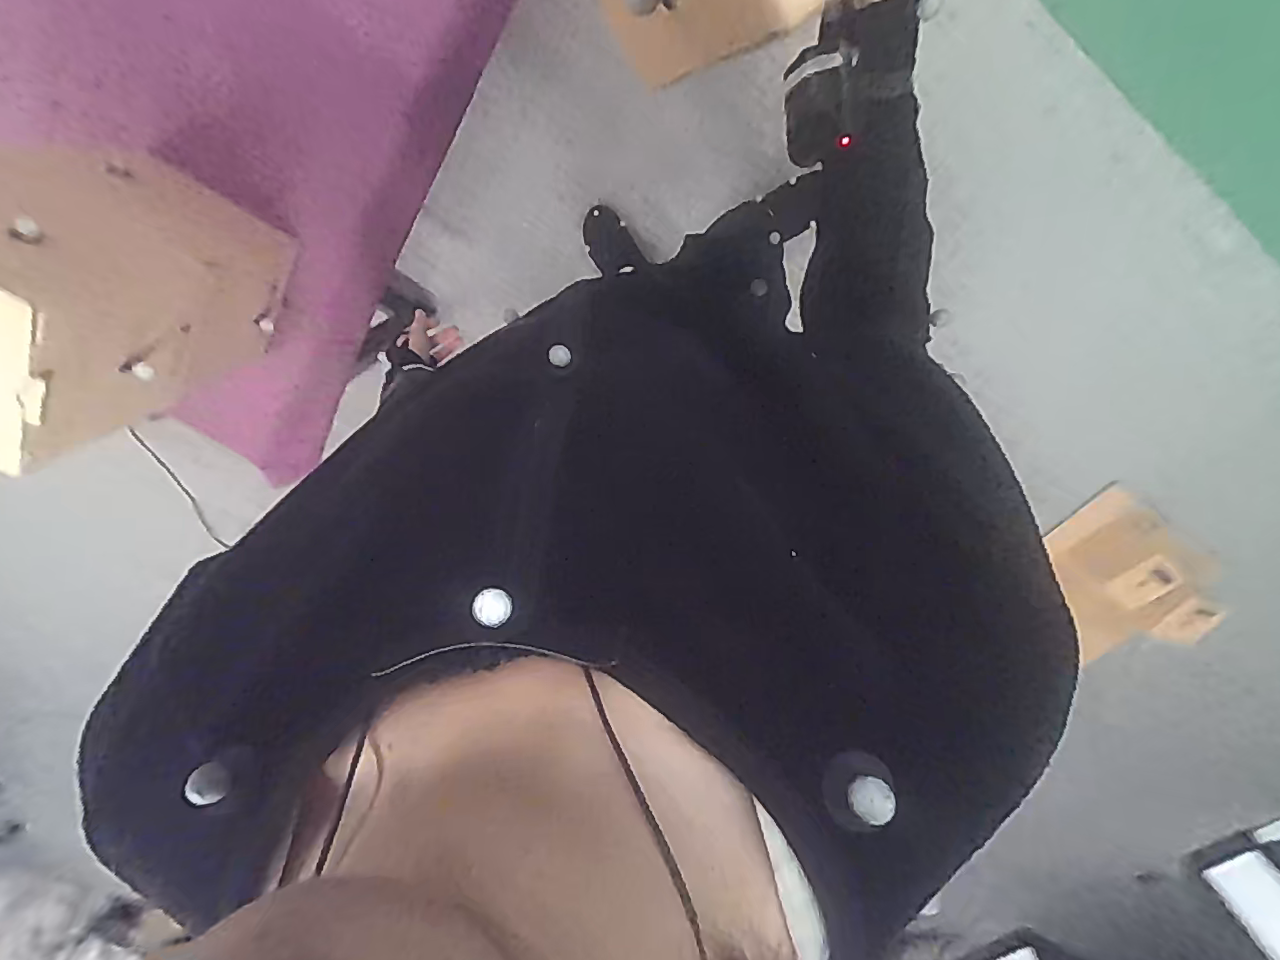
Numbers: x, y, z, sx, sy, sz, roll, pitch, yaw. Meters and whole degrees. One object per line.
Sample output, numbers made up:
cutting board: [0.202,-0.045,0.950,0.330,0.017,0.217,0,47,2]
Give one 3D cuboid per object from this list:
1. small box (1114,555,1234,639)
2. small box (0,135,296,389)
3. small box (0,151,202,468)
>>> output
small box: [1.675,0.365,1.710,0.168,0.176,0.179,17,120,-9]
small box: [-0.522,-0.232,0.583,0.179,0.176,0.168,30,116,-15]
small box: [-0.515,-0.147,0.442,0.179,0.176,0.168,31,115,-16]
